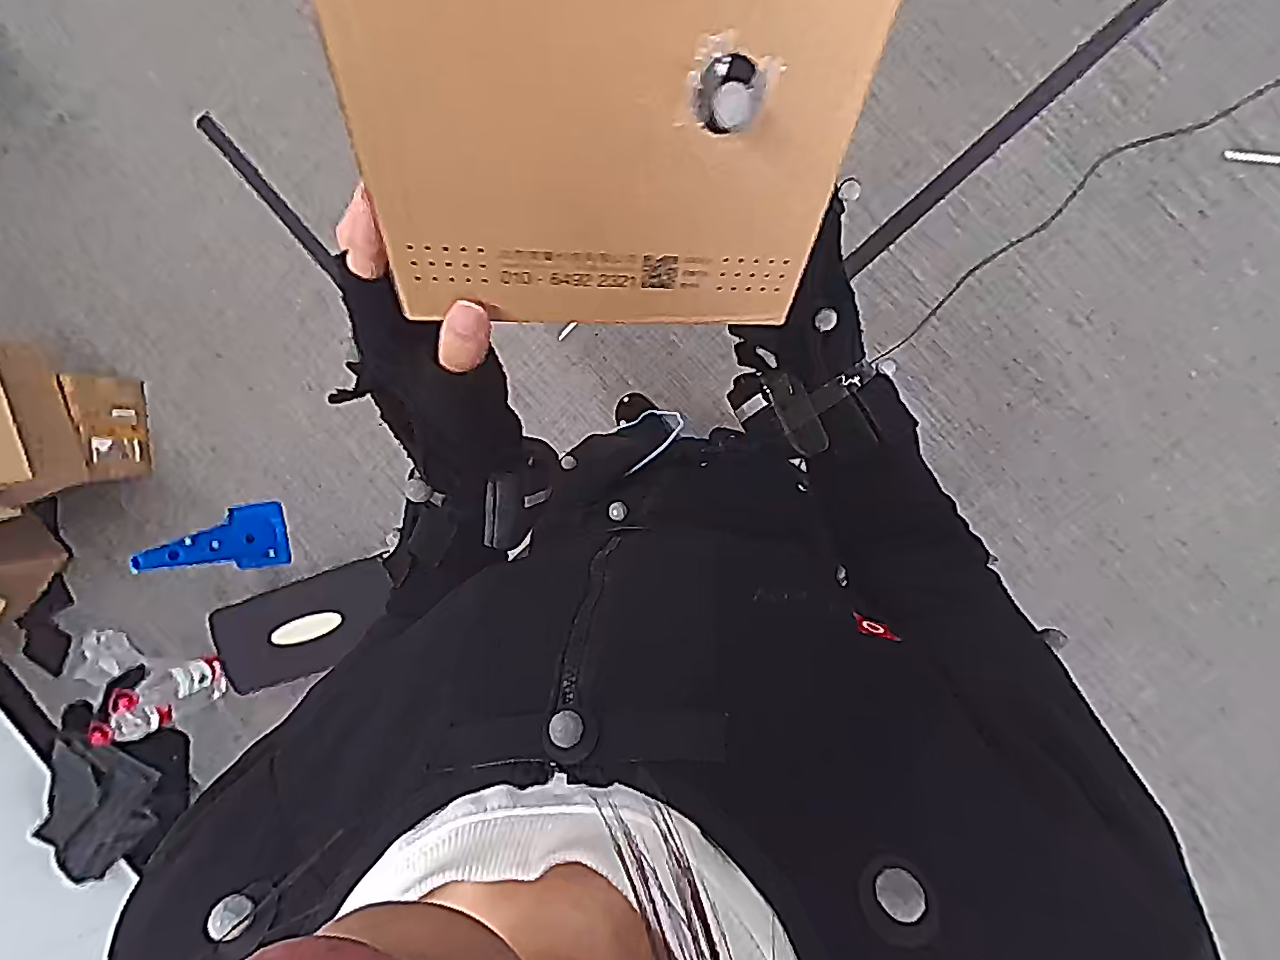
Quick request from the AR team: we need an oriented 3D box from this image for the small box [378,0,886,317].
[{"bbox_3d":[-0.008,-0.191,0.241,0.168,0.176,0.179,-1,52,-9],"label":"small box"}]
